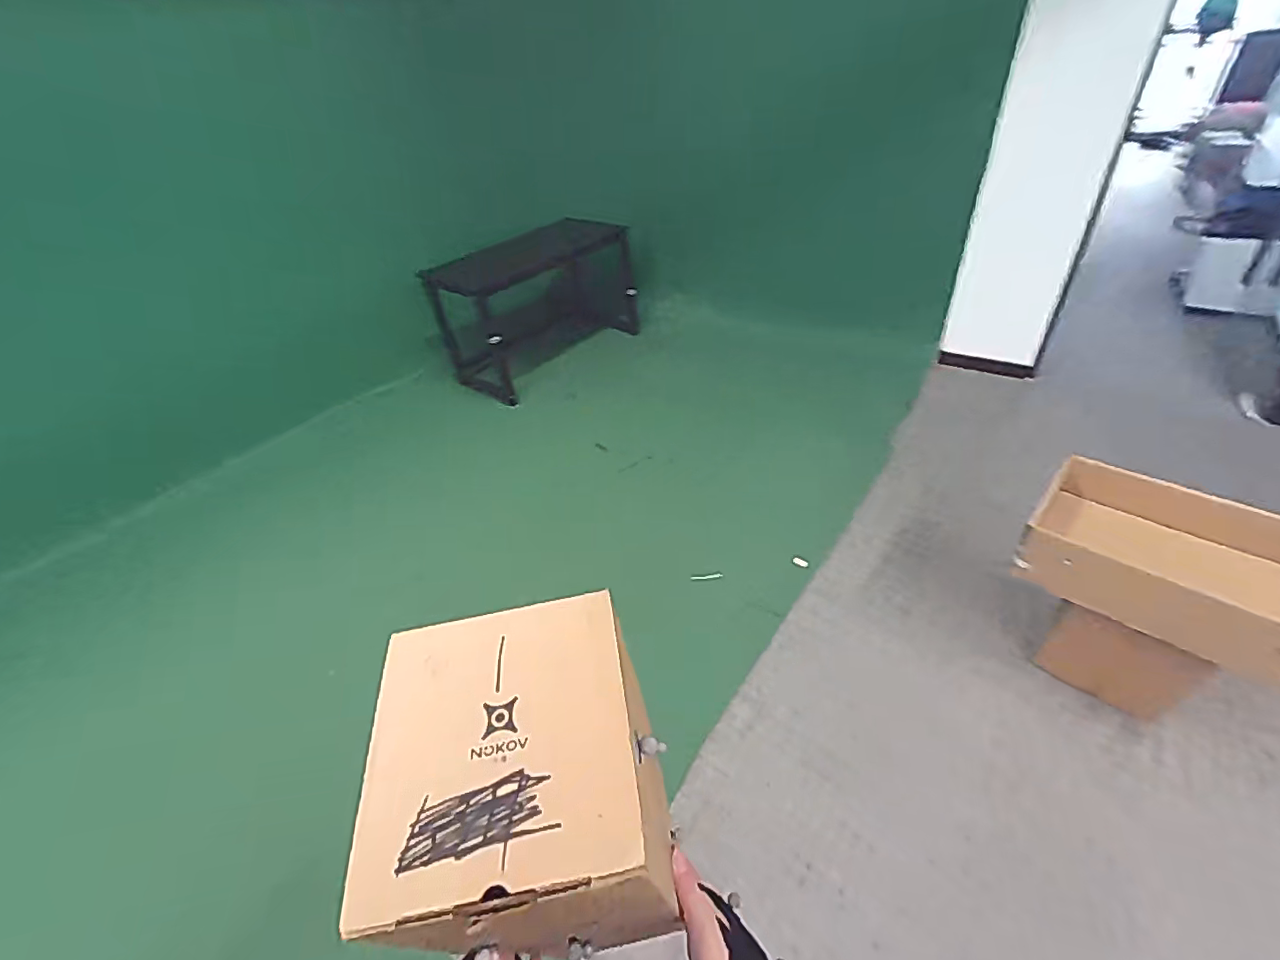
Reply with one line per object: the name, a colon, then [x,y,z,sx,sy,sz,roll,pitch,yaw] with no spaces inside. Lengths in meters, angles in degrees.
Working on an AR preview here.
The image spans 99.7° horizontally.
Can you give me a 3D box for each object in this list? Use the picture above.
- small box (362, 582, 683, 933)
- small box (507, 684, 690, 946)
small box: [-0.066,0.204,0.392,0.168,0.176,0.179,-10,46,-1]
small box: [-0.049,0.313,0.514,0.168,0.176,0.179,-10,47,-1]
